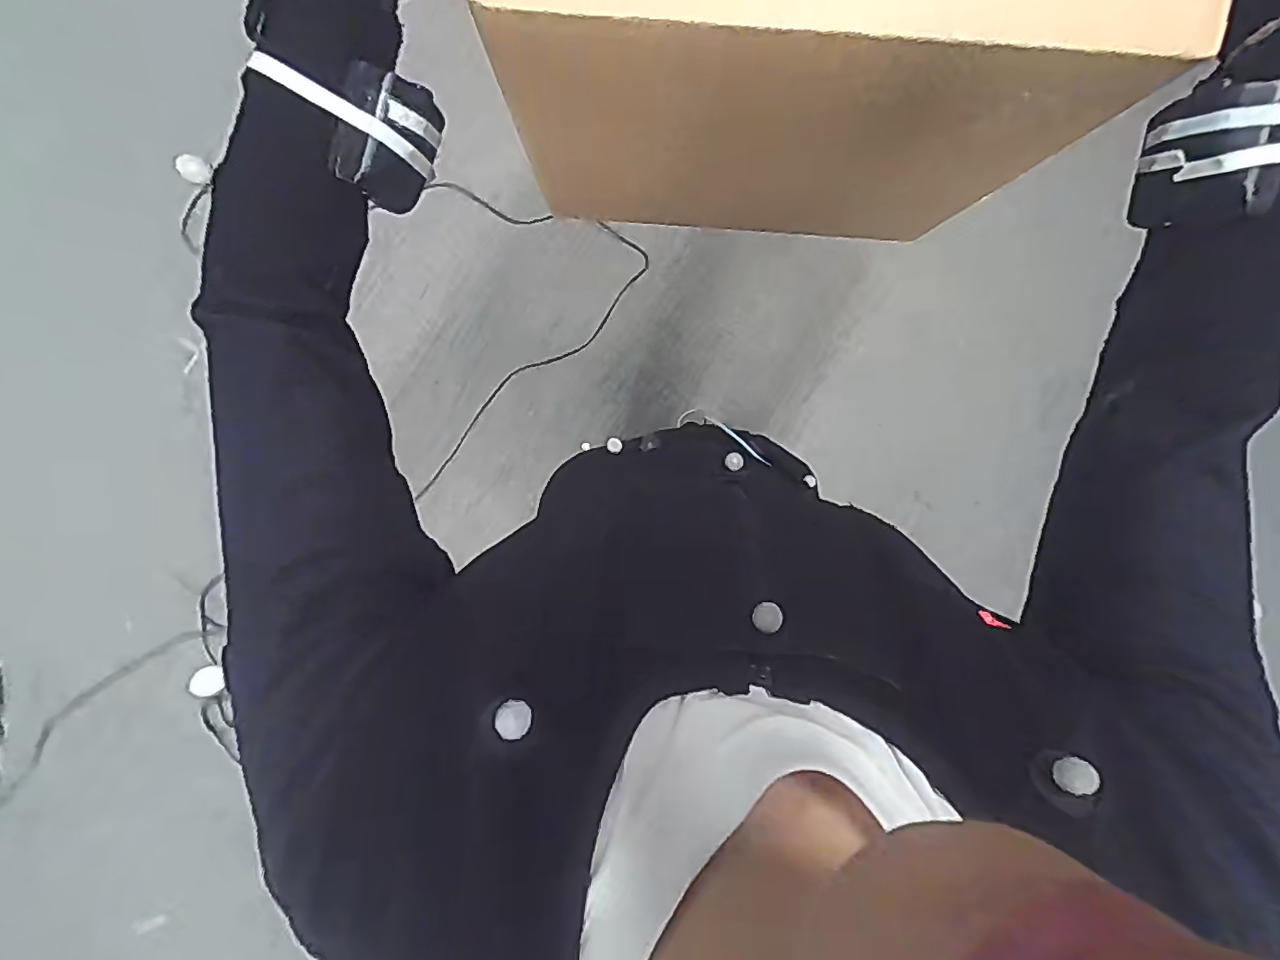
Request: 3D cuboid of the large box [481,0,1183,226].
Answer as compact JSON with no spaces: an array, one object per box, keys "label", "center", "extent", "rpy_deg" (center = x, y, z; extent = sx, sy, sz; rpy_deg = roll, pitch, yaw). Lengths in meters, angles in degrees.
[{"label":"large box","center":[0.104,-0.419,0.431],"extent":[0.408,0.320,0.320],"rpy_deg":[2,97,-3]}]
